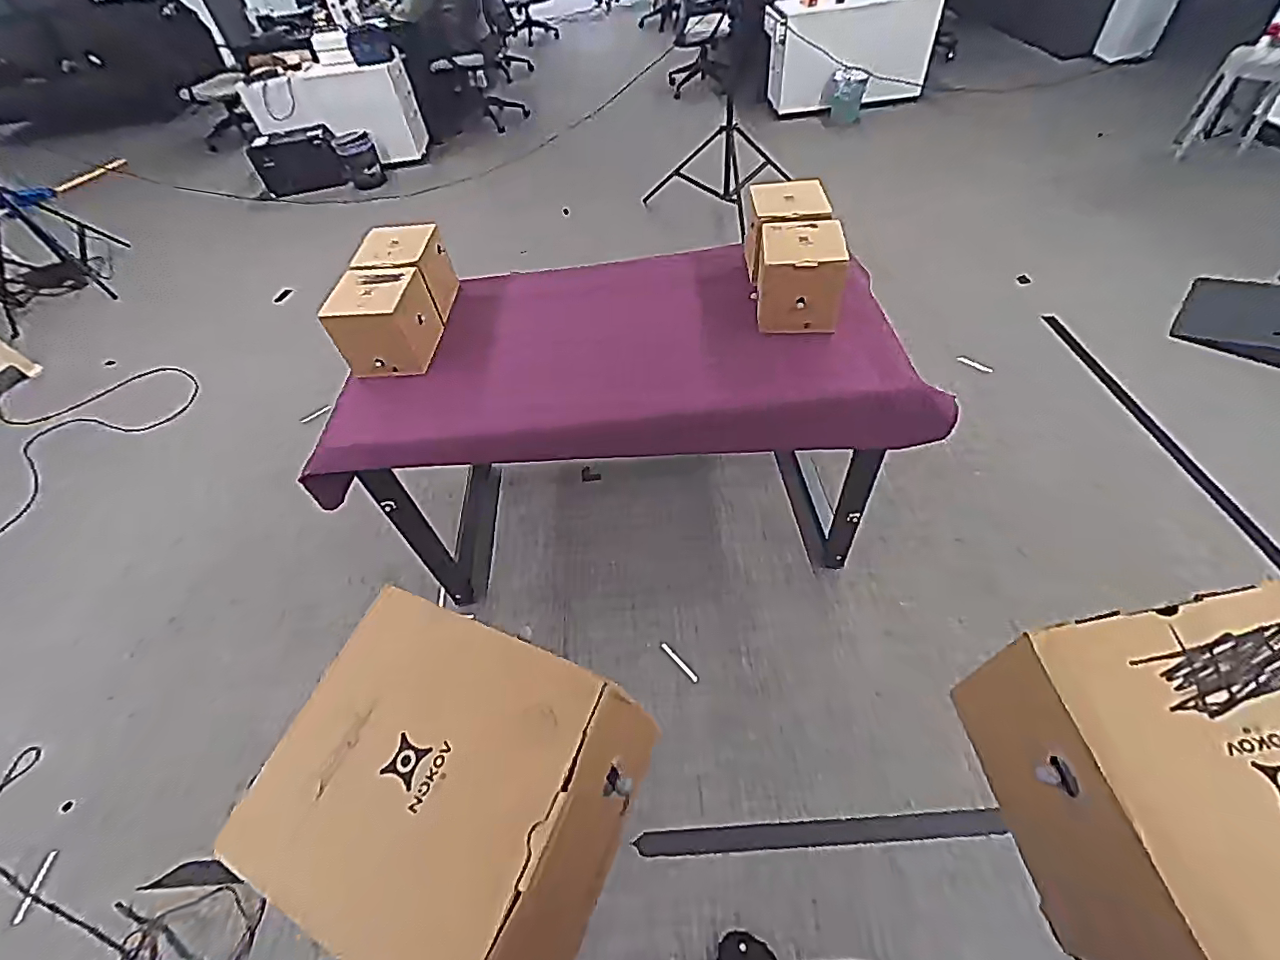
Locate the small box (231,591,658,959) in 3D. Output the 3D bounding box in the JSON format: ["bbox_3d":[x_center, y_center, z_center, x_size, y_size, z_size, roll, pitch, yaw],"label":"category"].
[{"bbox_3d":[-0.103,0.202,0.367,0.179,0.176,0.168,14,61,23],"label":"small box"}]

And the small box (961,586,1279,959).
[{"bbox_3d":[0.341,0.191,0.343,0.168,0.176,0.179,-13,56,5],"label":"small box"}]

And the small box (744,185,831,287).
[{"bbox_3d":[0.345,-0.586,1.302,0.168,0.176,0.179,-2,50,4],"label":"small box"}]

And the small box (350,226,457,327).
[{"bbox_3d":[-0.569,-0.499,1.332,0.168,0.176,0.179,-3,52,5],"label":"small box"}]
